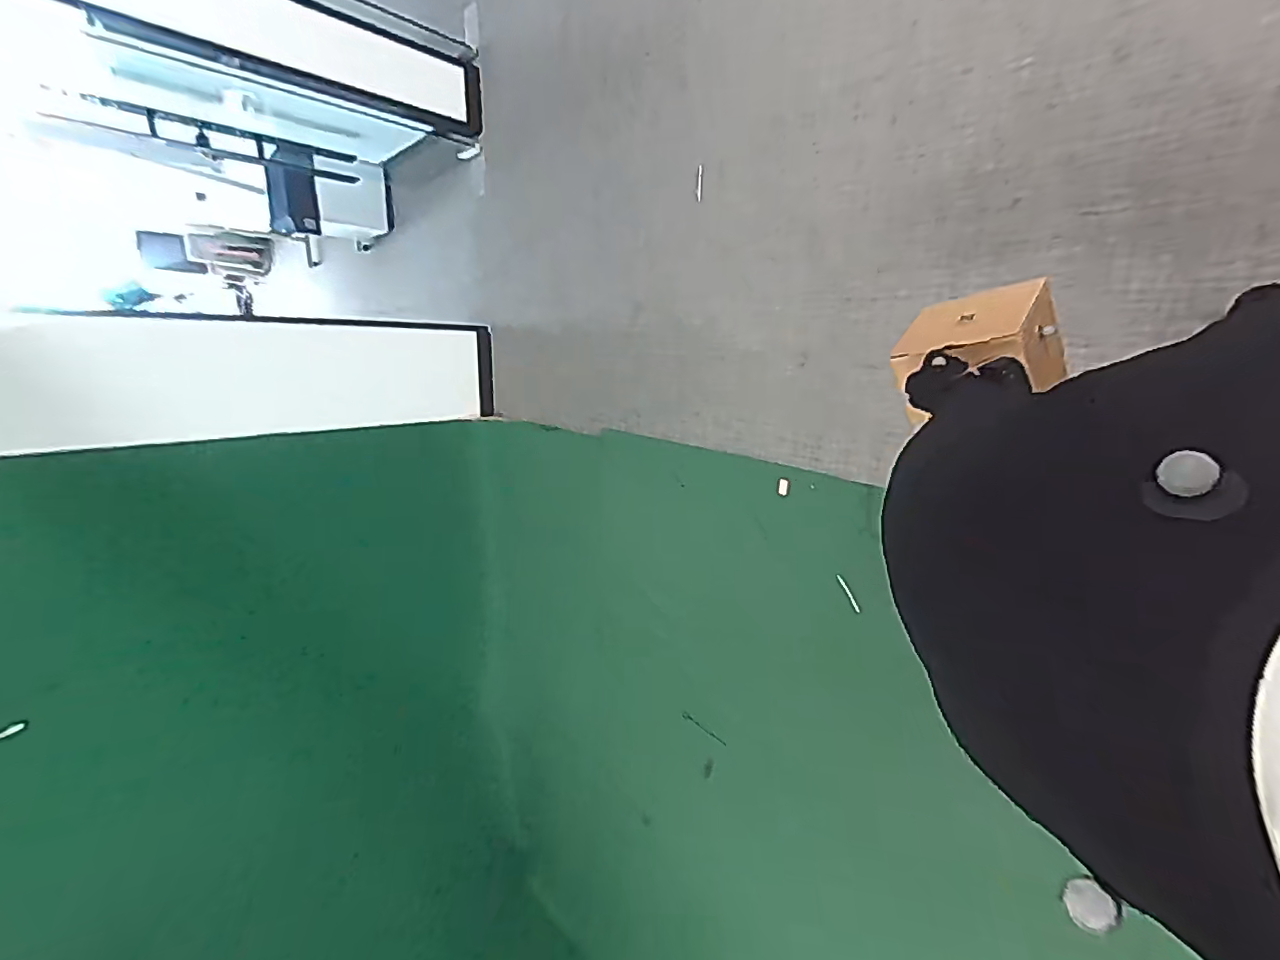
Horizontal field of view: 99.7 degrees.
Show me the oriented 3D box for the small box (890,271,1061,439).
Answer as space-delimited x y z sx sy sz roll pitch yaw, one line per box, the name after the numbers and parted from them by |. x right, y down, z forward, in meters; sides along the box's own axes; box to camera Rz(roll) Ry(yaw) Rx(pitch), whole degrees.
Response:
0.509 -0.180 0.812 0.168 0.179 0.176 -1 128 50 | small box
